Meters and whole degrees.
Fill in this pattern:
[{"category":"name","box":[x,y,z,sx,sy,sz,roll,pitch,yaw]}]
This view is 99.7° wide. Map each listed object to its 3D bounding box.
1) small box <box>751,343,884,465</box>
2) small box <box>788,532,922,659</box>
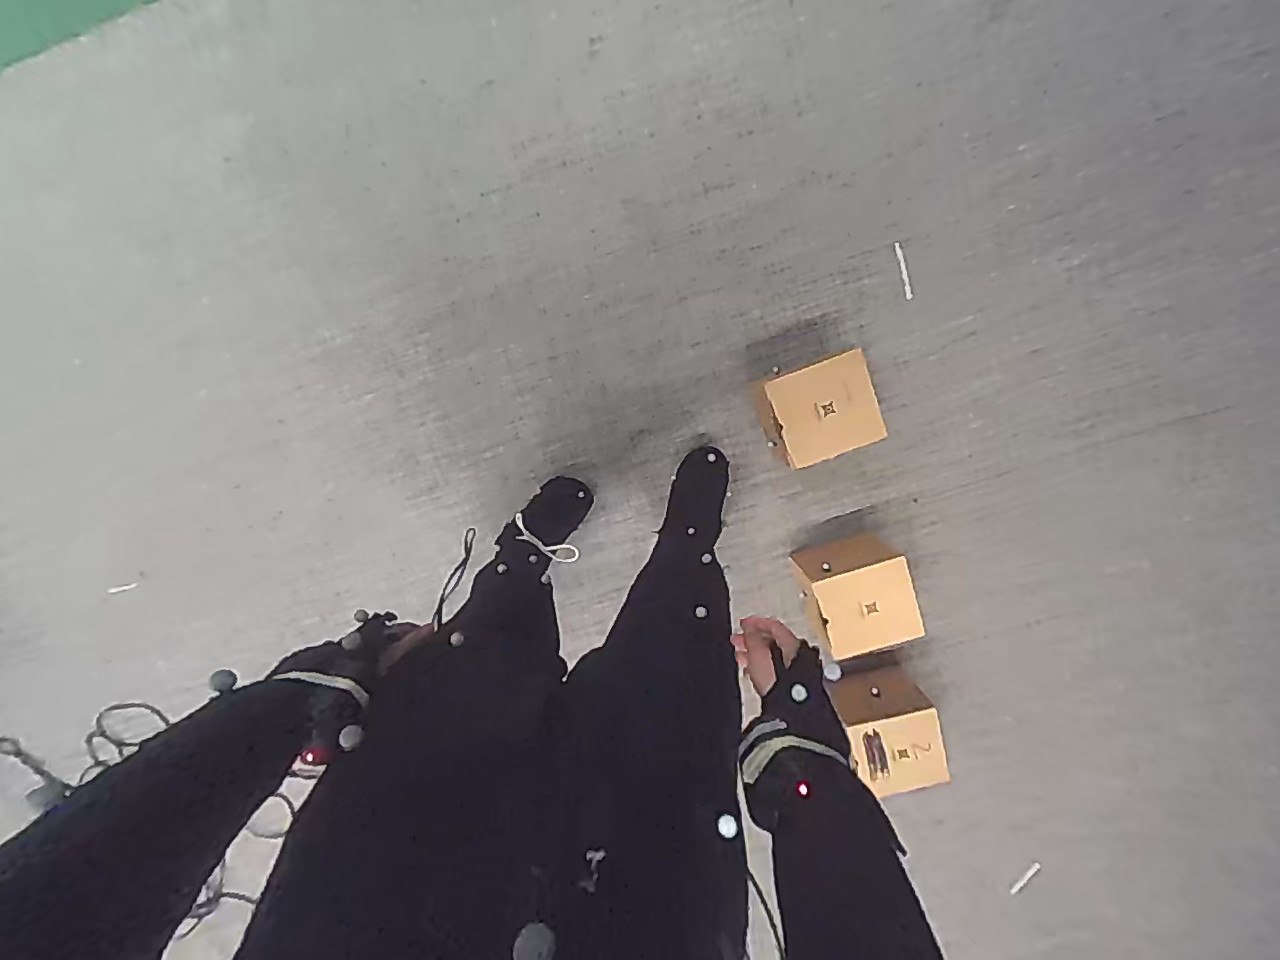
[{"category":"small box","box":[0.315,-0.141,1.002,0.179,0.176,0.168,-21,100,4]},{"category":"small box","box":[0.413,0.217,1.062,0.179,0.176,0.168,-18,99,5]}]
